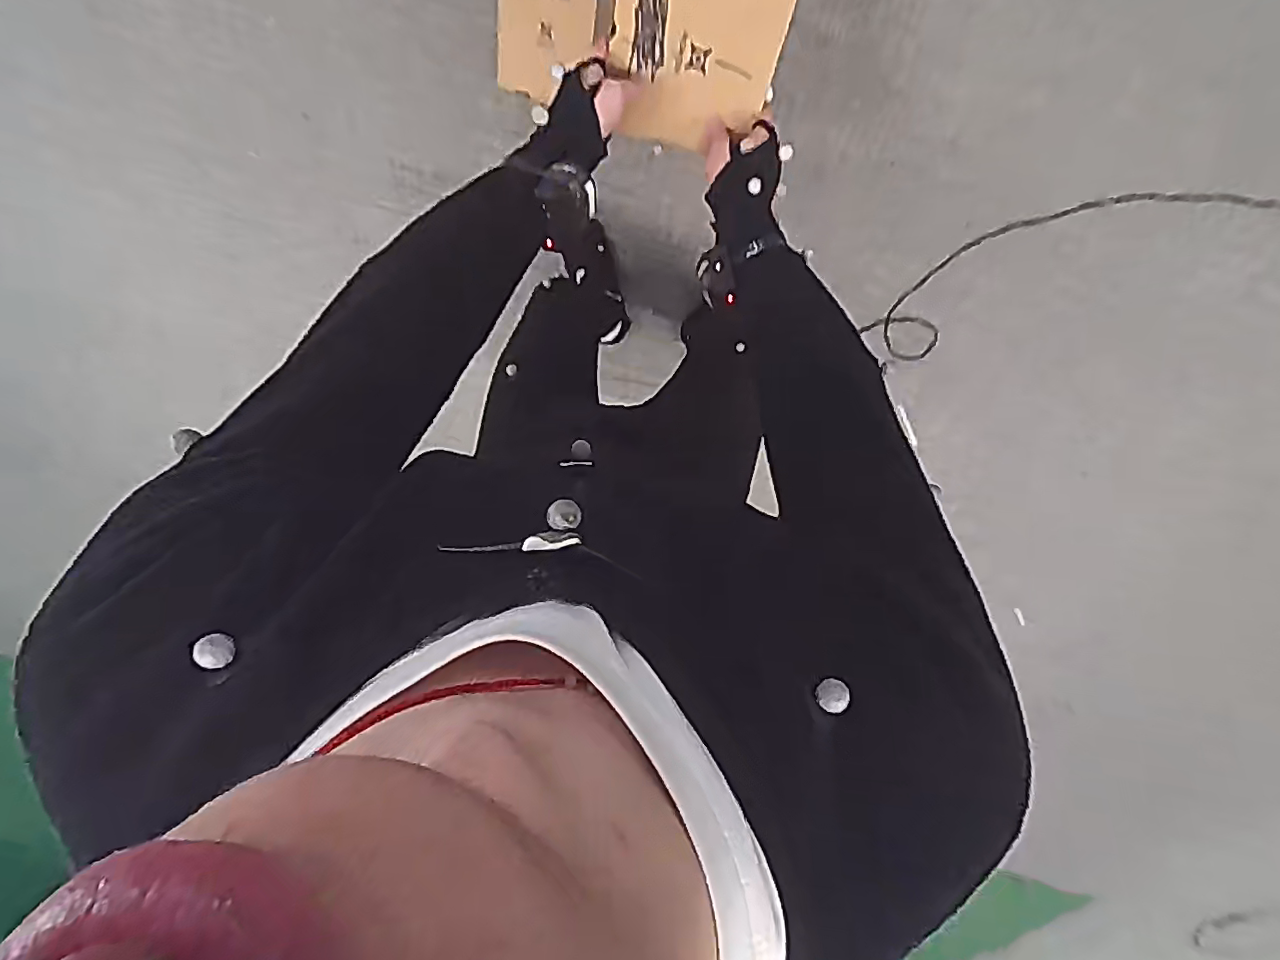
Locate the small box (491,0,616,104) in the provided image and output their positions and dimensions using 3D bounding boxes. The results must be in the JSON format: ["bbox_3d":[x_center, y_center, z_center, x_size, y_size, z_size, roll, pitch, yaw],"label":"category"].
[{"bbox_3d":[-0.134,-0.809,0.981,0.179,0.176,0.168,-13,120,18],"label":"small box"}]

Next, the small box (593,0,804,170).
[{"bbox_3d":[0.065,-0.481,0.623,0.179,0.176,0.168,20,125,-4],"label":"small box"}]
